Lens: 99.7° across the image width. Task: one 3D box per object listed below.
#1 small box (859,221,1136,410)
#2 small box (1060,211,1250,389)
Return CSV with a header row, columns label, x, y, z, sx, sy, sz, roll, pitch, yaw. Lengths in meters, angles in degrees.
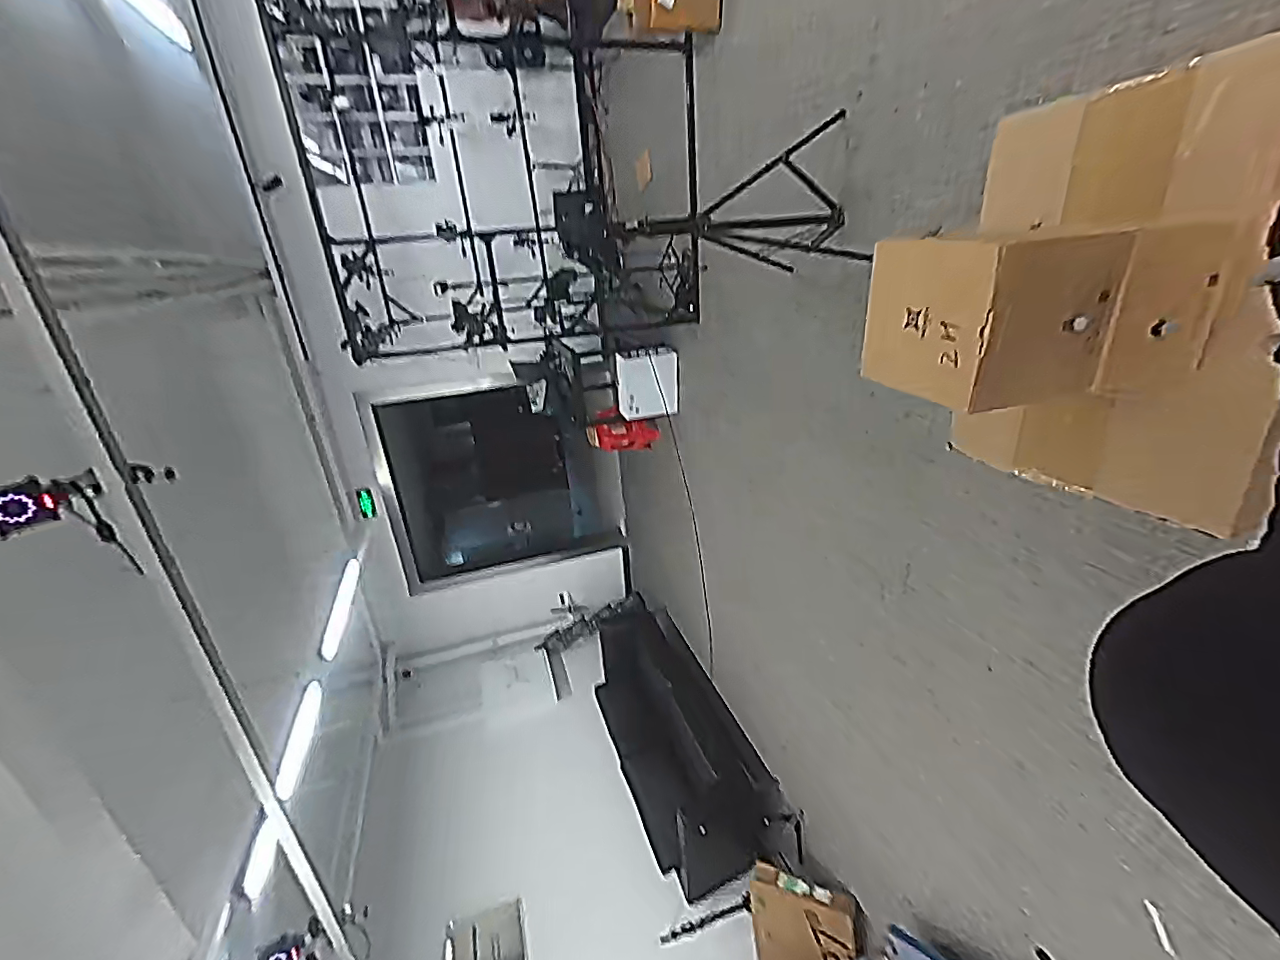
label,x,y,z,sx,sy,sz,roll,pitch,yaw
small box,0.379,-0.191,0.603,0.179,0.176,0.168,-127,29,-60
small box,0.538,-0.218,0.639,0.179,0.176,0.168,-129,31,-62
